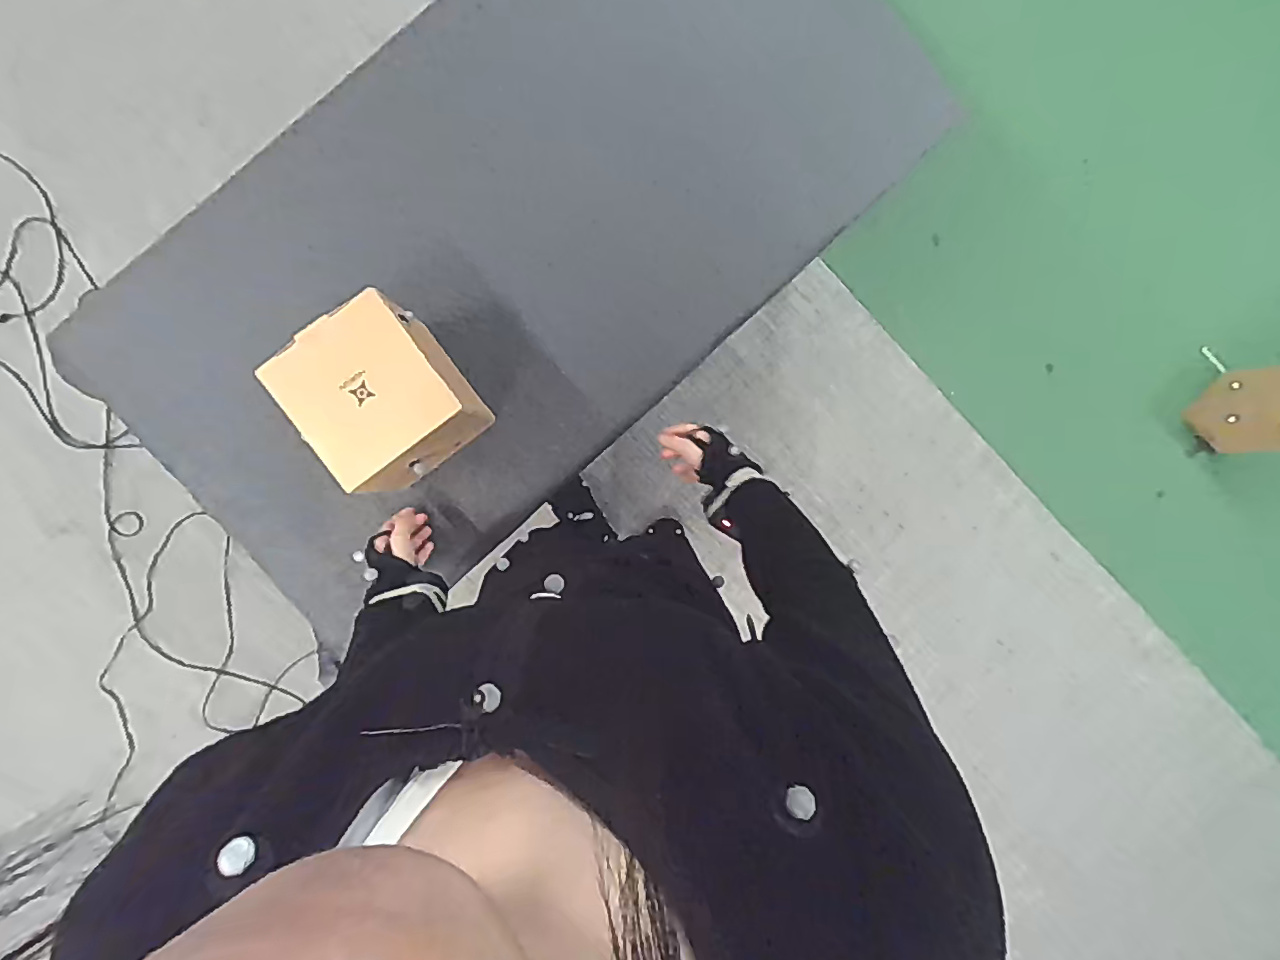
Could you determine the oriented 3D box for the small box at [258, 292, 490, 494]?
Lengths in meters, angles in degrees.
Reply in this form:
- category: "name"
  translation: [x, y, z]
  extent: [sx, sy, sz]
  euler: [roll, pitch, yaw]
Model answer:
- category: "small box"
  translation: [-0.320, -0.101, 0.694]
  extent: [0.168, 0.176, 0.179]
  euler: [-37, 91, -1]
